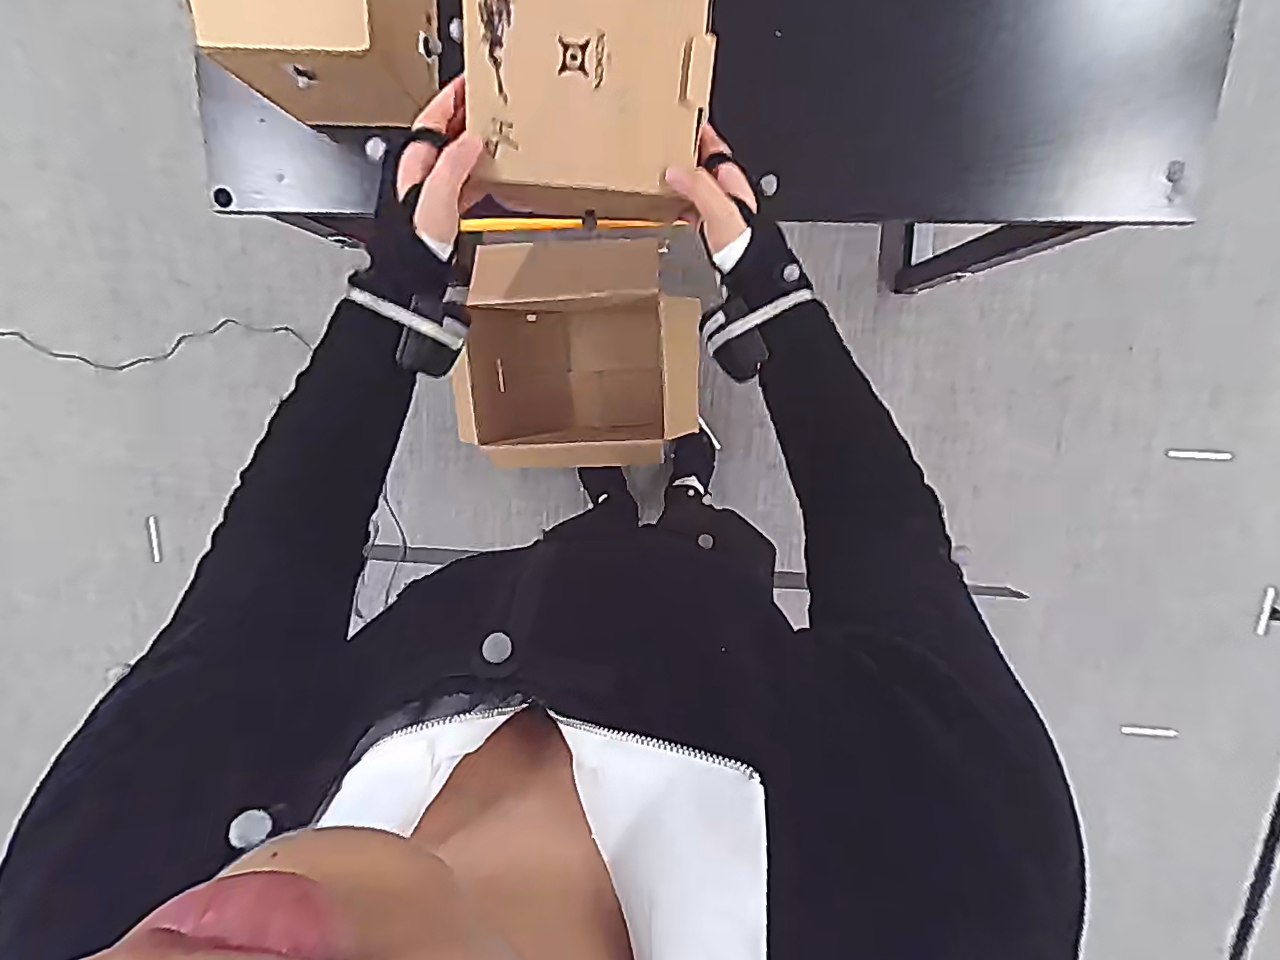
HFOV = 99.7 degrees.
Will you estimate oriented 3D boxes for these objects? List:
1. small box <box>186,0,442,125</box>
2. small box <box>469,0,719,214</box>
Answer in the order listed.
[{"bbox_3d":[-0.326,-0.496,0.563,0.179,0.176,0.168,2,102,1],"label":"small box"},{"bbox_3d":[-0.039,-0.334,0.462,0.179,0.176,0.168,3,108,-5],"label":"small box"}]
